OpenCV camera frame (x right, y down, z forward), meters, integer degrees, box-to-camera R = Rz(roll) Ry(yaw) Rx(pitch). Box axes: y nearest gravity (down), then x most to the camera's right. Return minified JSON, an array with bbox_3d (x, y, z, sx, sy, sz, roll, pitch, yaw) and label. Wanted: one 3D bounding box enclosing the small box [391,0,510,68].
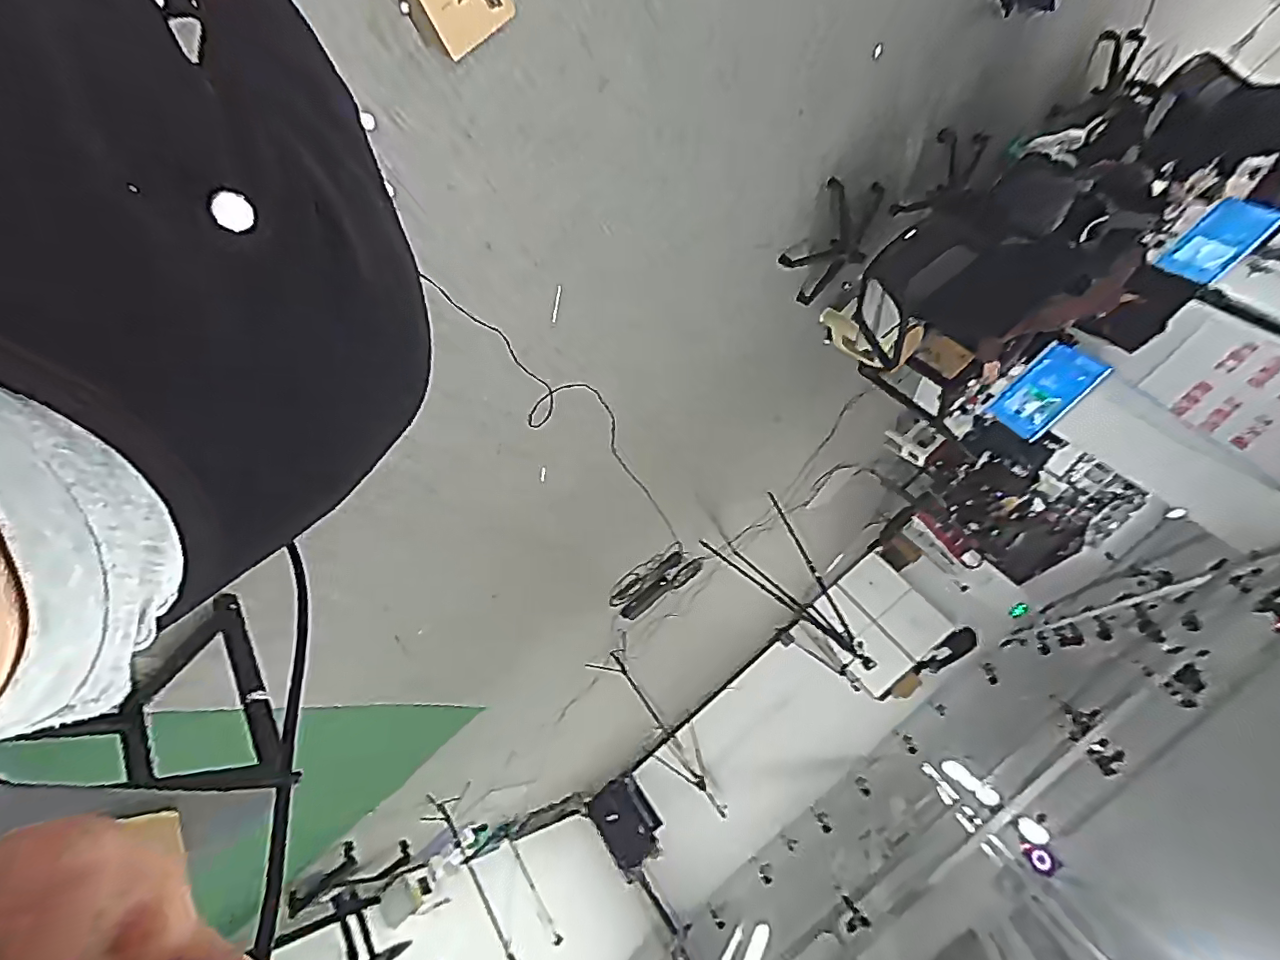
[{"bbox_3d":[-0.414,-1.021,1.132,0.179,0.176,0.168,-41,150,-1],"label":"small box"}]
